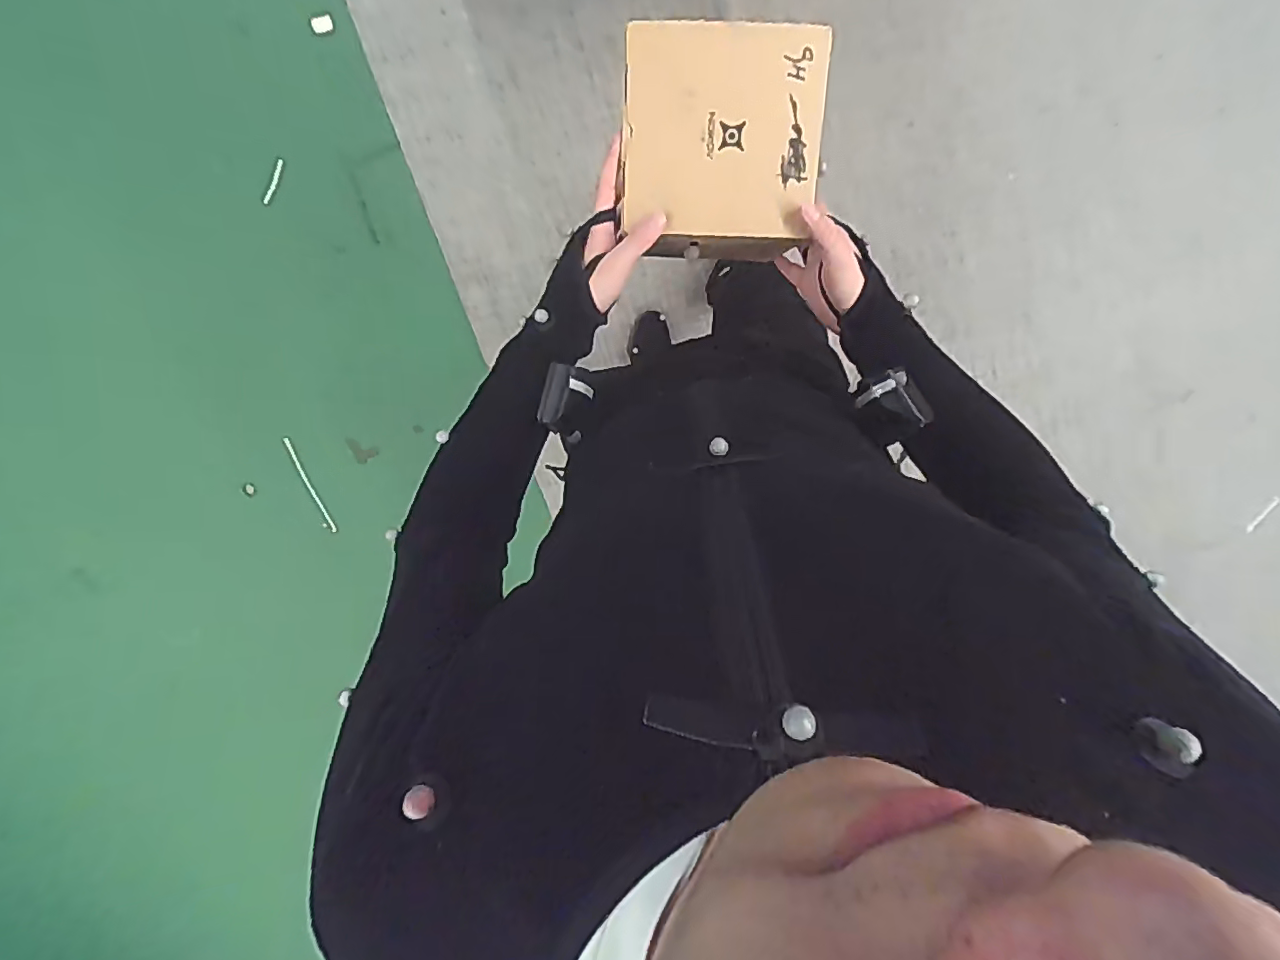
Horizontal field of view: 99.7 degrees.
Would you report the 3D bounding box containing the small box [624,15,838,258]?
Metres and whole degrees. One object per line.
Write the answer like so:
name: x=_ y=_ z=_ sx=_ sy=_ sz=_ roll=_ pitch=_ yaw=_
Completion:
small box: x=0.078 y=-0.325 z=0.547 sx=0.179 sy=0.176 sz=0.168 roll=2 pitch=105 yaw=0
